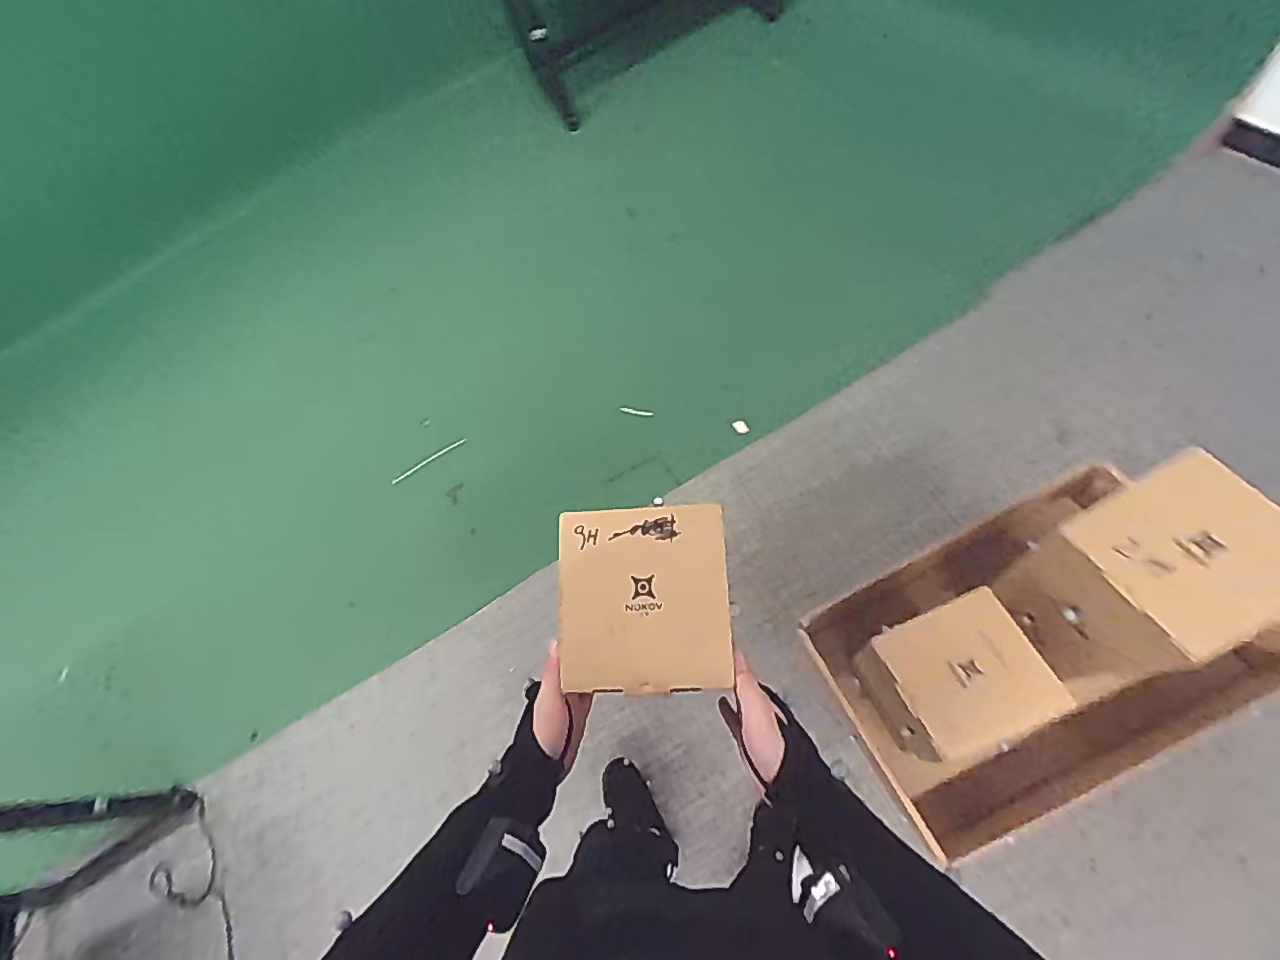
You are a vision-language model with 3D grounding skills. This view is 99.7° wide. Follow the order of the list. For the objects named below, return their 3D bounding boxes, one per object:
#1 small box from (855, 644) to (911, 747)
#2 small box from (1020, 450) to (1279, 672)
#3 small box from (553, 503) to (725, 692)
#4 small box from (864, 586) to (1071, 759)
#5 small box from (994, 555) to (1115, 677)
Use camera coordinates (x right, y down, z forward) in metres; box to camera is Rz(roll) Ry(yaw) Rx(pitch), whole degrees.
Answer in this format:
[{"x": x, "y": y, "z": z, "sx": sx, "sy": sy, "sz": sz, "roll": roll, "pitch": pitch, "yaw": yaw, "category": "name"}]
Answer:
[{"x": 0.482, "y": 0.336, "z": 0.910, "sx": 0.179, "sy": 0.176, "sz": 0.168, "roll": -27, "pitch": 61, "yaw": 1, "category": "small box"}, {"x": 0.591, "y": 0.101, "z": 0.621, "sx": 0.179, "sy": 0.176, "sz": 0.168, "roll": -31, "pitch": 60, "yaw": 3, "category": "small box"}, {"x": 0.006, "y": 0.126, "z": 0.601, "sx": 0.168, "sy": 0.176, "sz": 0.179, "roll": -4, "pitch": 78, "yaw": 5, "category": "small box"}, {"x": 0.438, "y": 0.277, "z": 0.764, "sx": 0.179, "sy": 0.176, "sz": 0.168, "roll": -25, "pitch": 62, "yaw": 2, "category": "small box"}, {"x": 0.650, "y": 0.161, "z": 0.764, "sx": 0.179, "sy": 0.176, "sz": 0.168, "roll": -30, "pitch": 61, "yaw": 4, "category": "small box"}]
